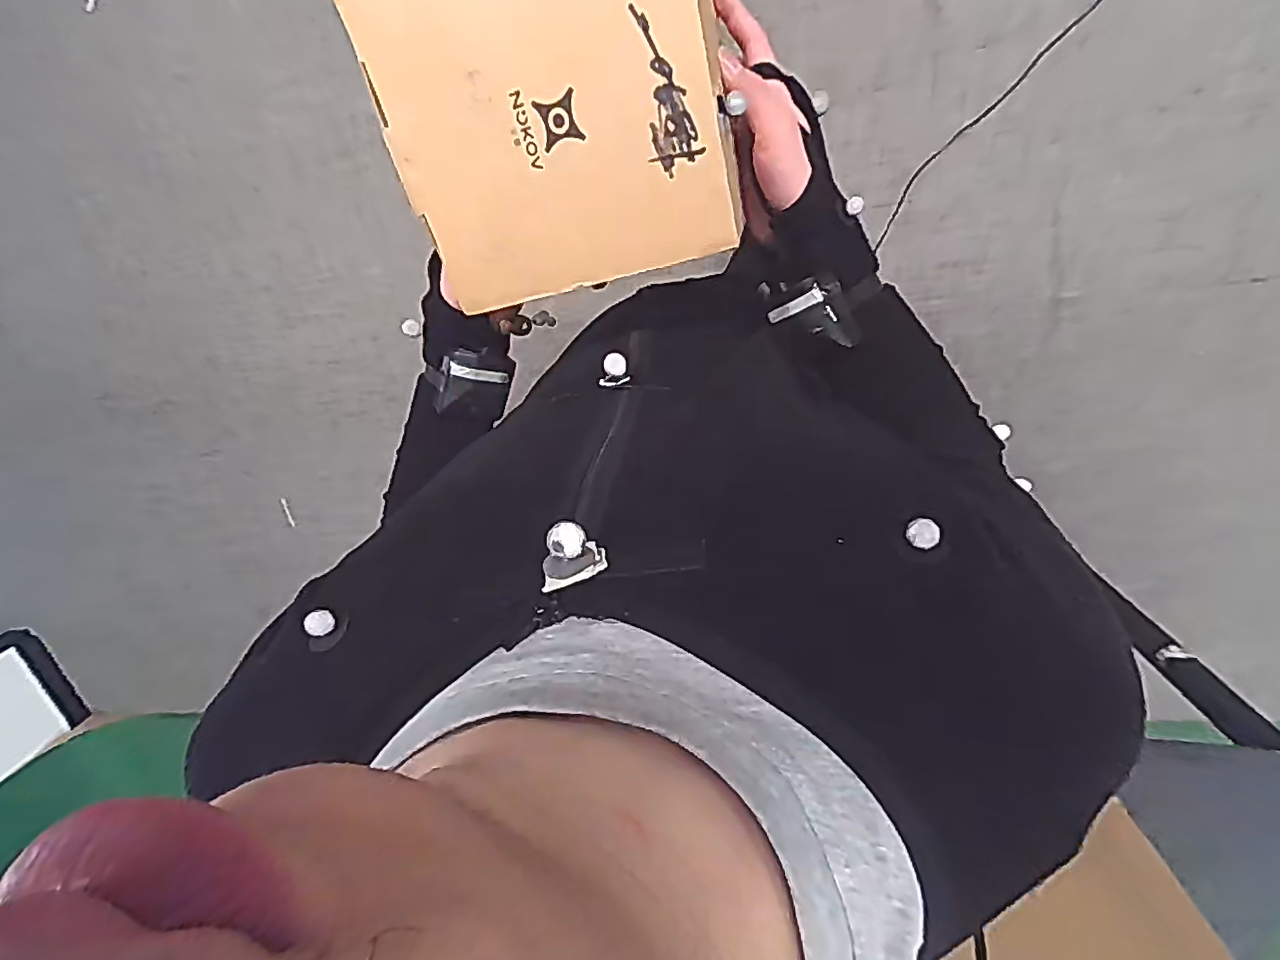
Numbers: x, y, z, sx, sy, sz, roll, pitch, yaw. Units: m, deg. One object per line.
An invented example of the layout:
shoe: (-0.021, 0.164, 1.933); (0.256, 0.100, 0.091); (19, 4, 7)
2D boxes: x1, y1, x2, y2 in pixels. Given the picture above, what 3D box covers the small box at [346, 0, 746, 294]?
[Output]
small box: (-0.033, -0.233, 0.343); (0.179, 0.176, 0.168); (-7, 120, 17)
